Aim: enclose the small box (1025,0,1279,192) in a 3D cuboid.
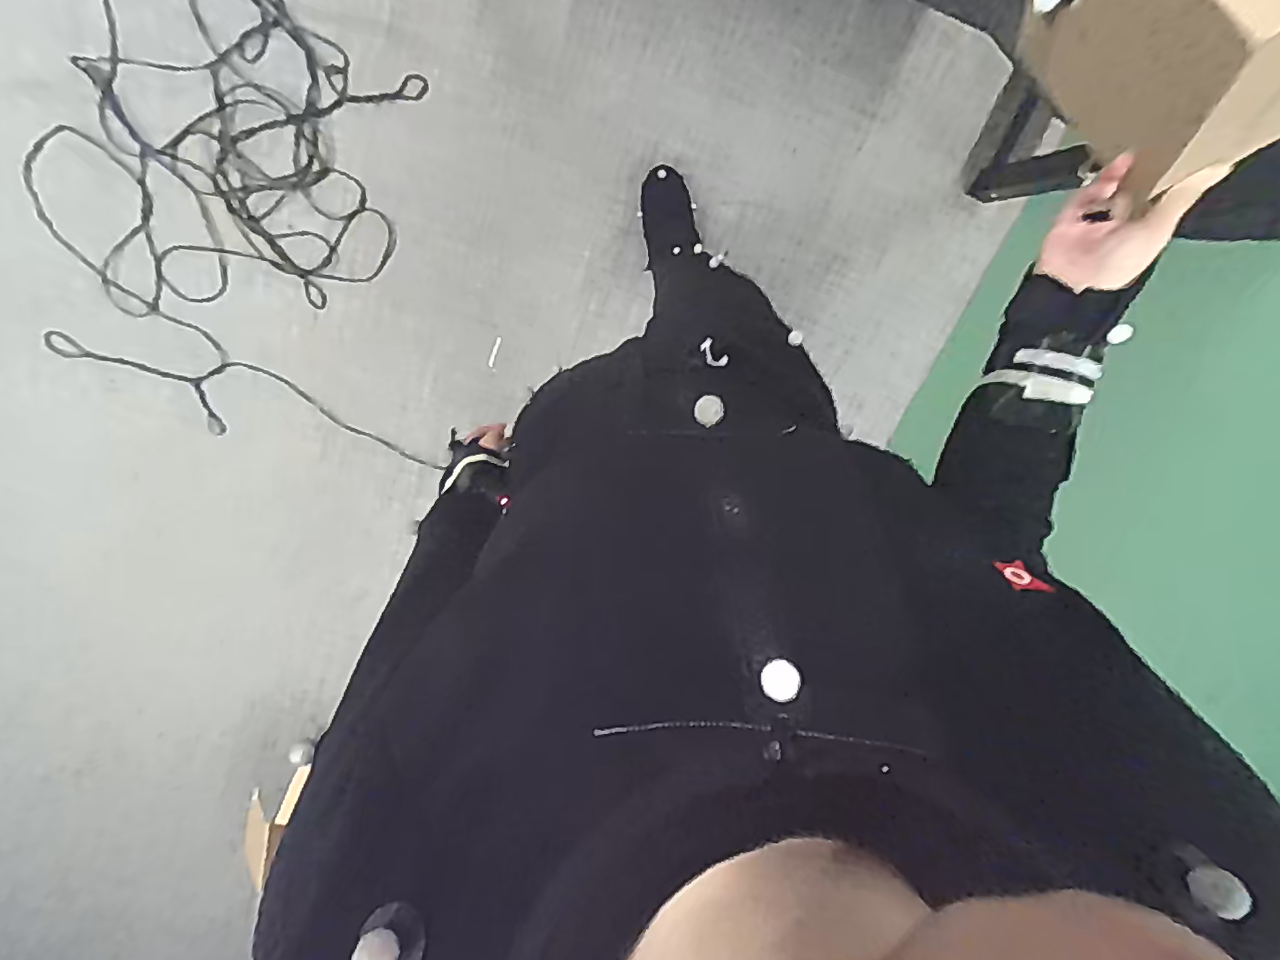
[{"bbox_3d":[0.362,-0.318,0.300,0.179,0.168,0.176,-29,74,25],"label":"small box"}]
